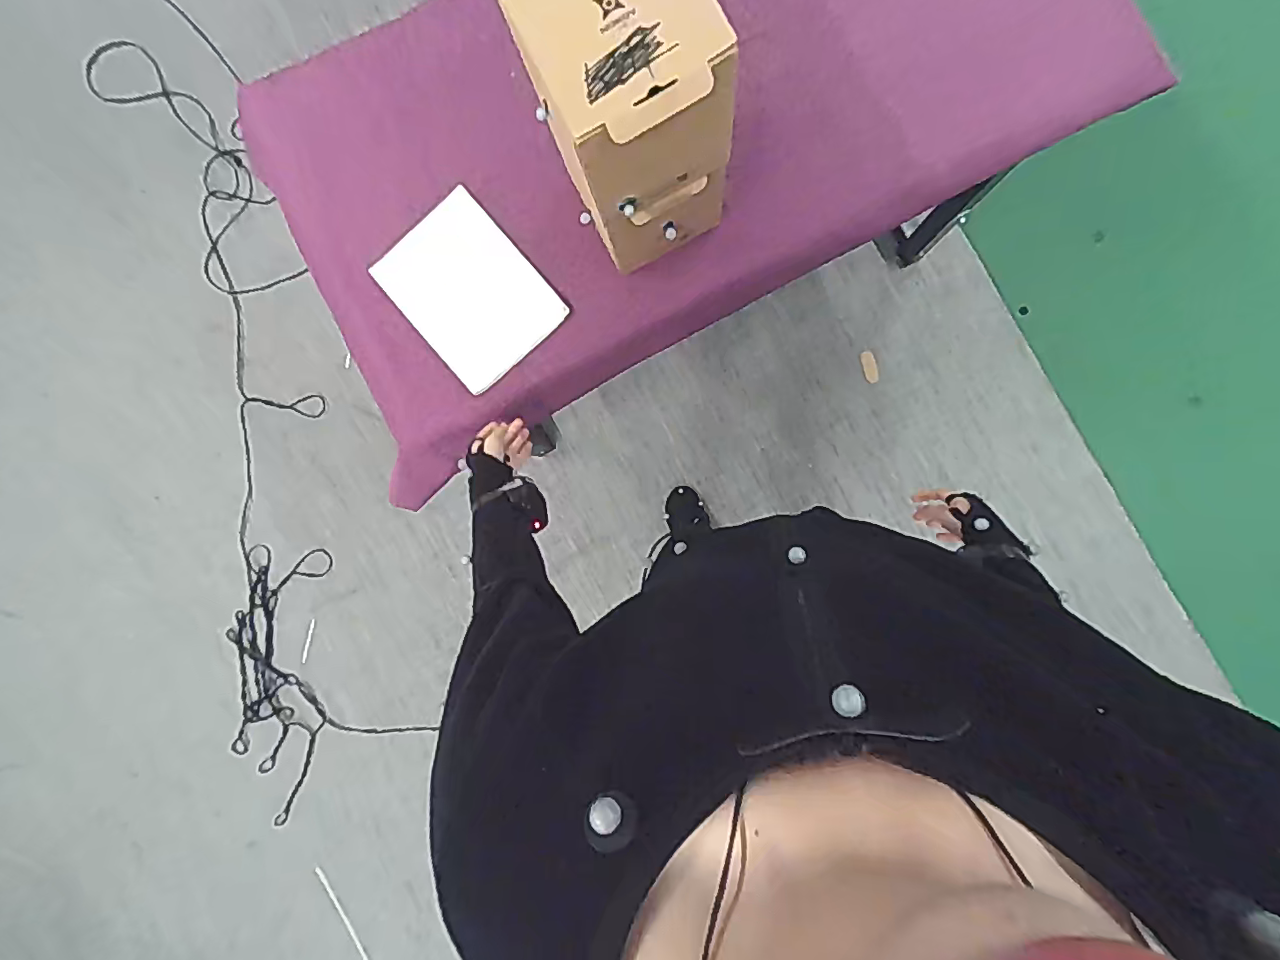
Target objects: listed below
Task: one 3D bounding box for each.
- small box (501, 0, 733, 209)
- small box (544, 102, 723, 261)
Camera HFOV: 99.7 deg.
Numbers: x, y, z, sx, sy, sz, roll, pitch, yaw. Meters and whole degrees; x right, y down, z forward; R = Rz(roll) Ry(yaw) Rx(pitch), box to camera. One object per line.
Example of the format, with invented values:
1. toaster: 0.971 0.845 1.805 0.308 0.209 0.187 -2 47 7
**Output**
1. small box: -0.015 -0.417 0.563 0.168 0.176 0.179 -27 86 5
2. small box: 0.000 -0.422 0.728 0.168 0.176 0.179 -27 88 5
